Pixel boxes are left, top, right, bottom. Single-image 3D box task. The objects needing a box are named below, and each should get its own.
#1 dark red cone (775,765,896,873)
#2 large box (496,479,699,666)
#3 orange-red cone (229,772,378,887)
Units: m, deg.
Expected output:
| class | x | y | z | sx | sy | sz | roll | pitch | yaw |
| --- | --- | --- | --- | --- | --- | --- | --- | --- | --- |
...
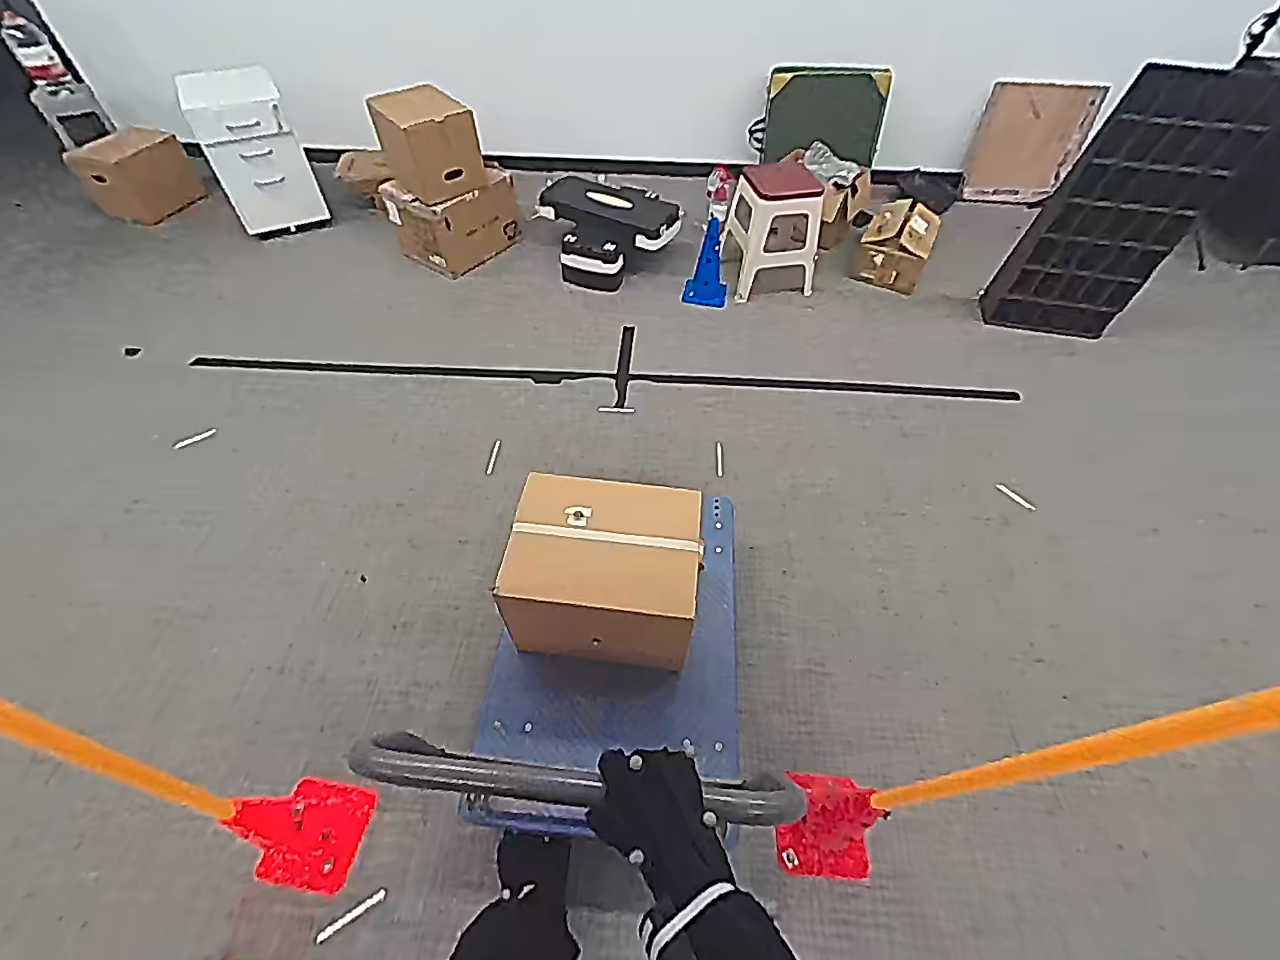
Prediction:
| class | x | y | z | sx | sy | sz | roll | pitch | yaw |
| --- | --- | --- | --- | --- | --- | --- | --- | --- | --- |
| dark red cone | 0.420 | 0.661 | 1.098 | 0.201 | 0.394 | 0.202 | 5 | 52 | 0 |
| large box | -0.075 | 0.225 | 1.274 | 0.408 | 0.320 | 0.320 | 6 | 53 | 4 |
| orange-red cone | -0.714 | 0.674 | 1.089 | 0.198 | 0.360 | 0.199 | 10 | 51 | 5 |
